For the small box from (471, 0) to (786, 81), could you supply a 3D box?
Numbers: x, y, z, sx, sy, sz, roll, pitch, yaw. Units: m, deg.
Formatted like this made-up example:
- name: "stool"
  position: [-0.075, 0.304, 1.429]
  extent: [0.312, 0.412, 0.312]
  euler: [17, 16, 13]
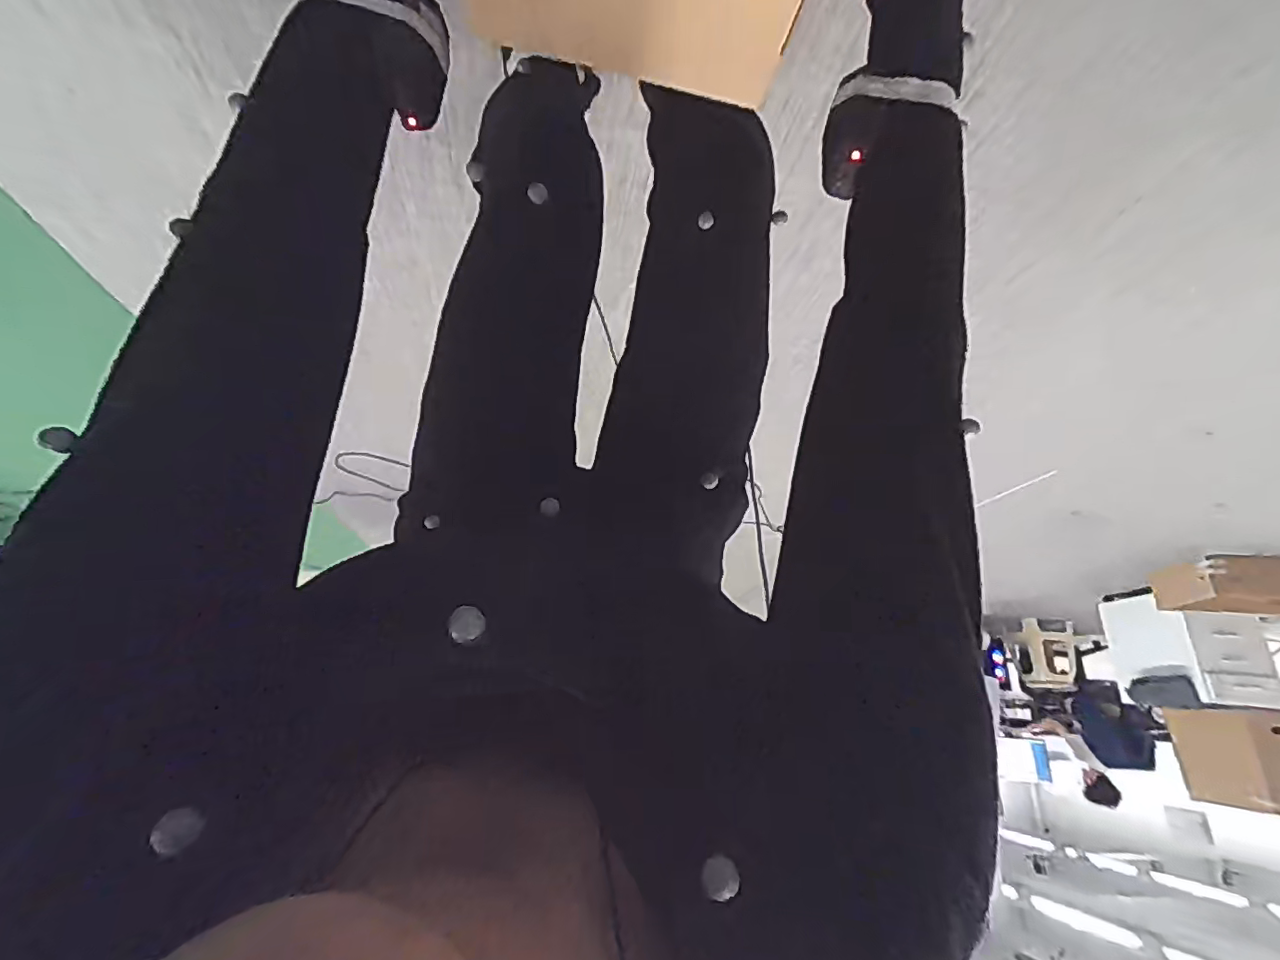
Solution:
- name: "small box"
  position: [0.007, -0.358, 0.273]
  extent: [0.179, 0.176, 0.168]
  euler: [7, 157, -10]
